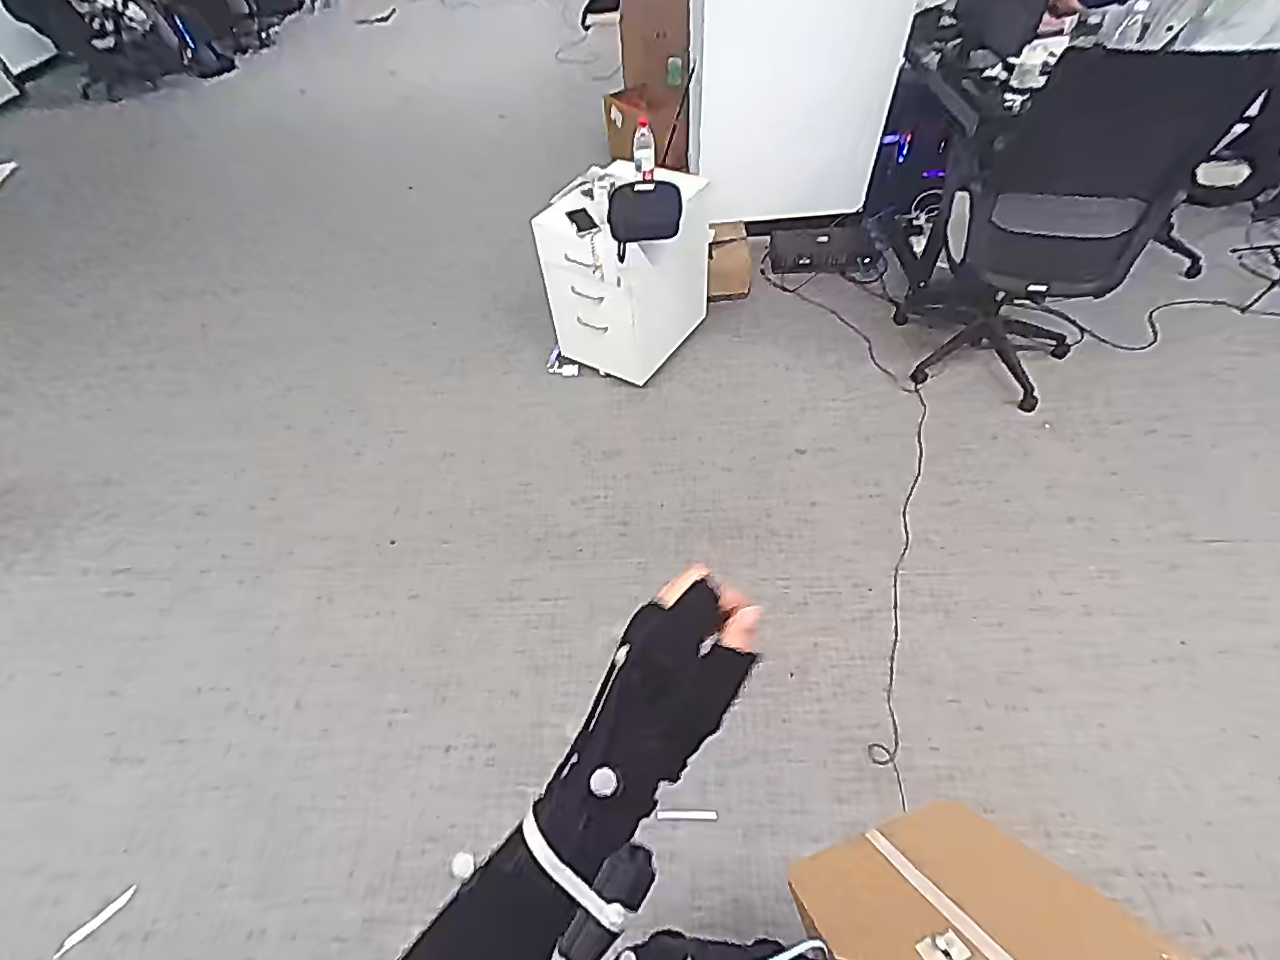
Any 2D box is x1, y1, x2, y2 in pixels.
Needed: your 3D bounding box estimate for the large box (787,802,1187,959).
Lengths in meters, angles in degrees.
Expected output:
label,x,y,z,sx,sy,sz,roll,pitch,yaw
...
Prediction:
label,x,y,z,sx,sy,sz,roll,pitch,yaw
large box,0.439,0.695,0.678,0.320,0.408,0.320,-19,83,-7
